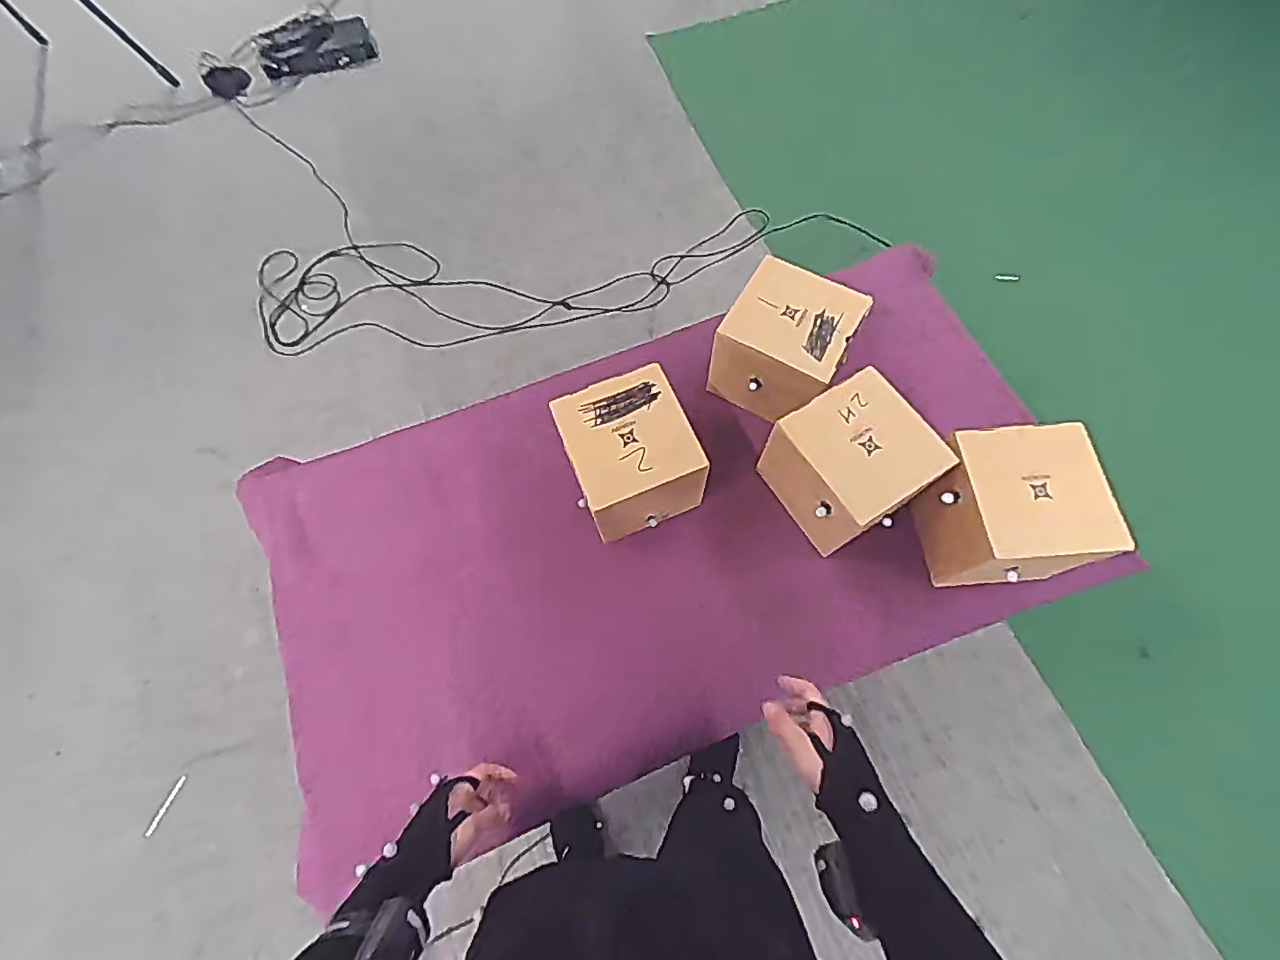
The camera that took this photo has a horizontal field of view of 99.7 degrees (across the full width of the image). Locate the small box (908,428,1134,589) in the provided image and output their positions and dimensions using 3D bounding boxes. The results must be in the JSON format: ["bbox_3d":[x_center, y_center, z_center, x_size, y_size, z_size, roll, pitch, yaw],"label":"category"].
[{"bbox_3d":[0.496,0.048,0.738,0.168,0.176,0.179,-4,66,2],"label":"small box"}]
